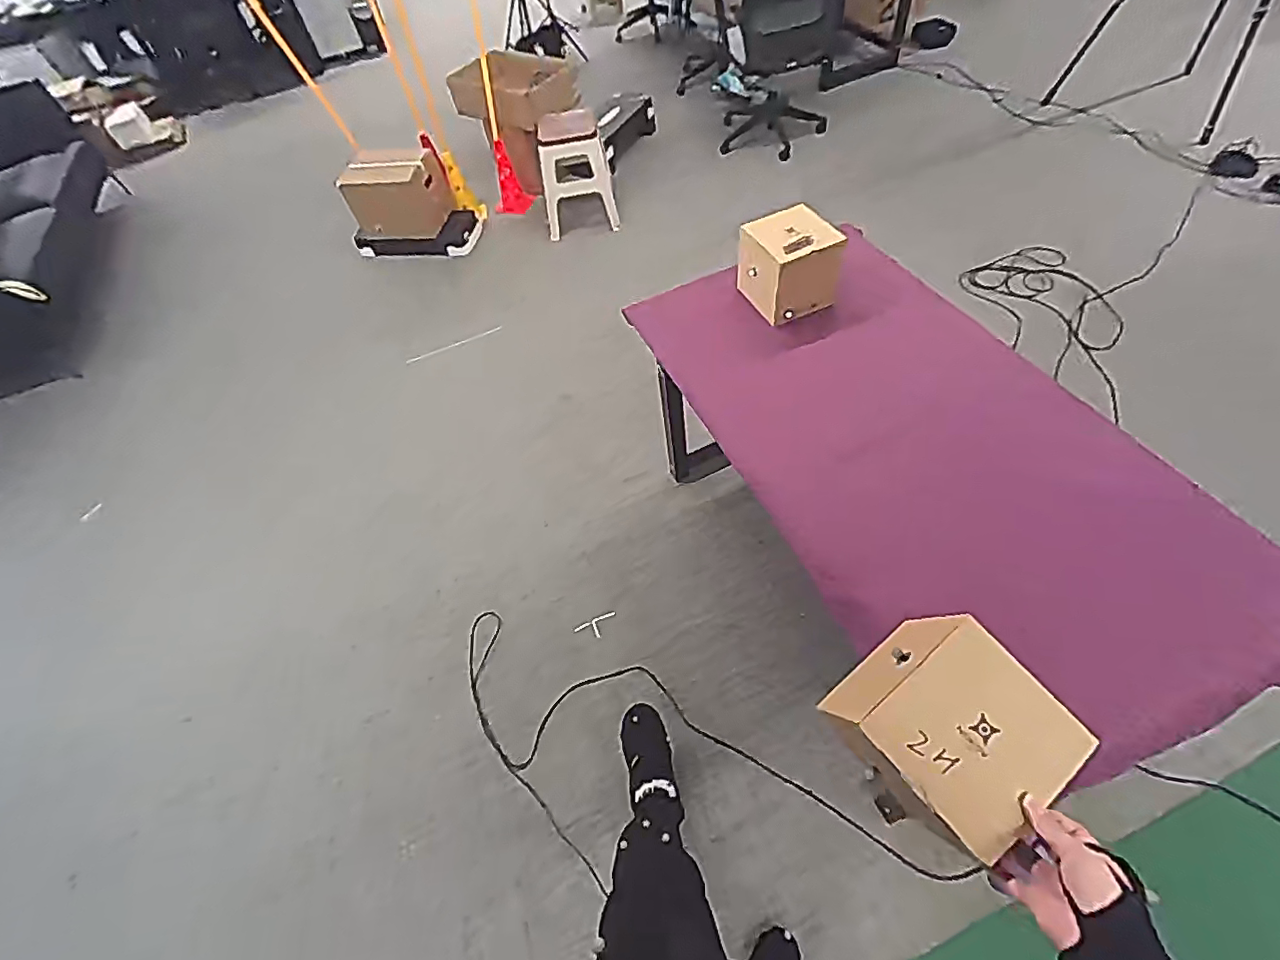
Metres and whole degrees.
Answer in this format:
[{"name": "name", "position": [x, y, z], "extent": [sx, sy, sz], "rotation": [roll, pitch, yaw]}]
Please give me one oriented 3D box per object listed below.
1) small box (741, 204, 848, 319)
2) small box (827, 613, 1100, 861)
[{"name": "small box", "position": [0.345, -0.493, 1.241], "extent": [0.168, 0.176, 0.179], "rotation": [-22, 54, -8]}, {"name": "small box", "position": [0.346, 0.274, 0.620], "extent": [0.179, 0.176, 0.168], "rotation": [-39, 74, -8]}]
